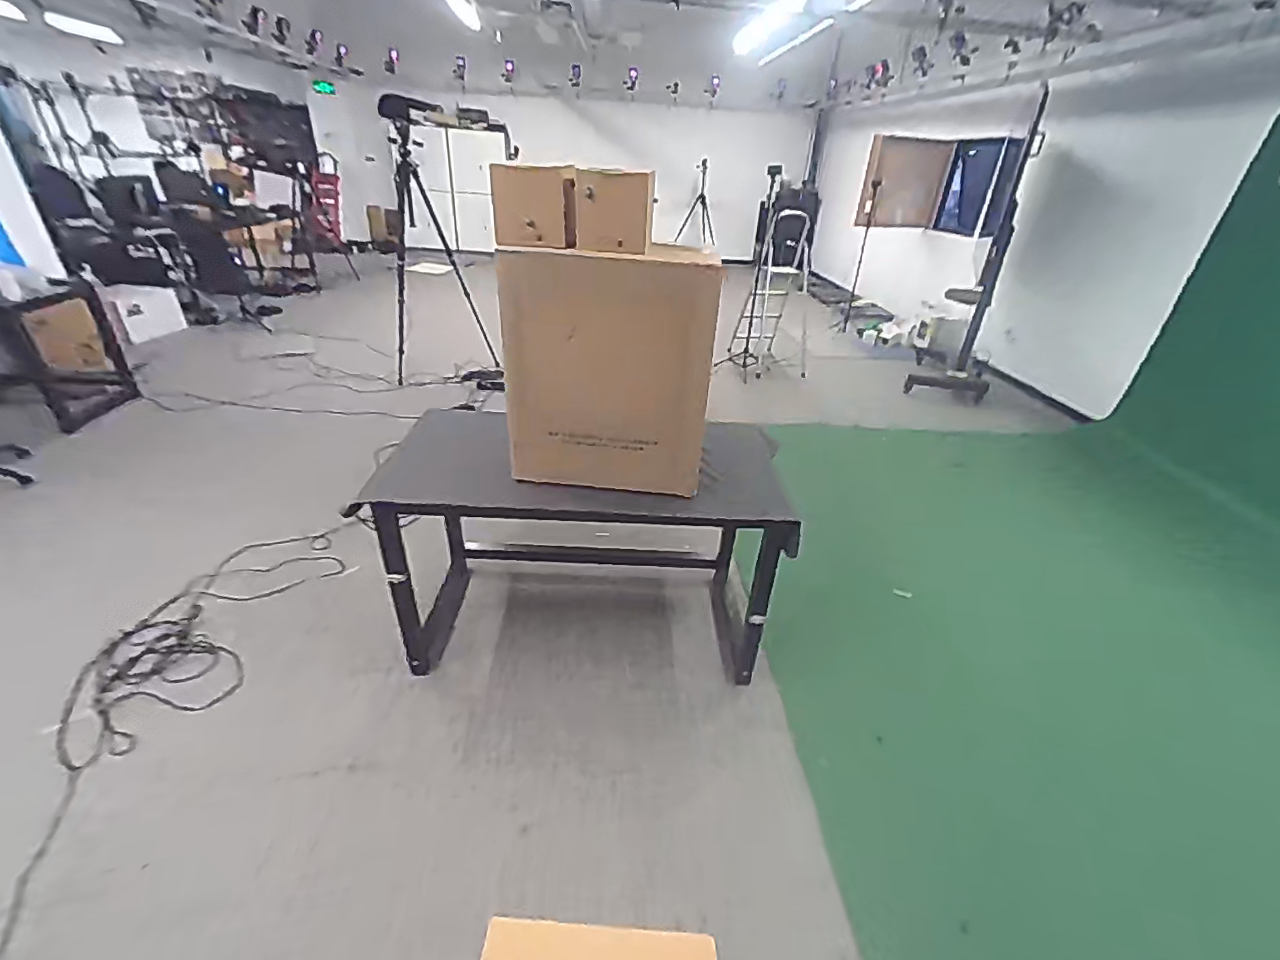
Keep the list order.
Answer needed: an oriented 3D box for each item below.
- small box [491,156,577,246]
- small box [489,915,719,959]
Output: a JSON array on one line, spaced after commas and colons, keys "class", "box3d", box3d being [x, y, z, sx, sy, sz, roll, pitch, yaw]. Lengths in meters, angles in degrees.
[{"class": "small box", "box3d": [-0.244, -0.664, 1.283, 0.168, 0.176, 0.179, 4, 32, 2]}, {"class": "small box", "box3d": [-0.036, 0.432, 0.344, 0.168, 0.176, 0.179, 7, 21, -2]}]
